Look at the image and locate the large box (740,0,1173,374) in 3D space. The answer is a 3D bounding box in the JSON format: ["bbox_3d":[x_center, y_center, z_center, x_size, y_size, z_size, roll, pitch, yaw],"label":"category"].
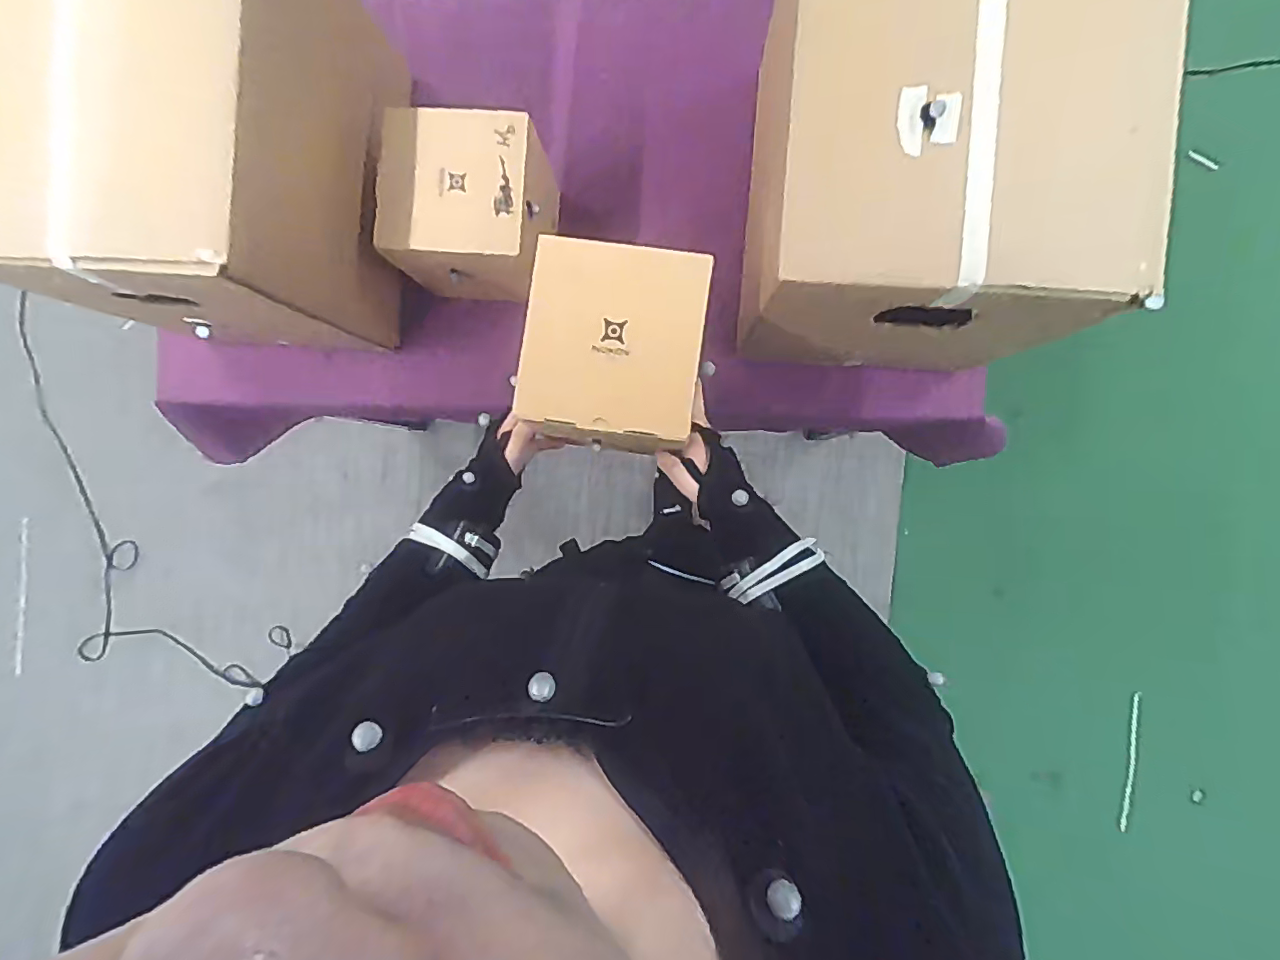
[{"bbox_3d":[0.301,-0.356,0.614,0.320,0.320,0.408,5,91,3],"label":"large box"}]

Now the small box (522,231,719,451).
[{"bbox_3d":[-0.017,-0.135,0.586,0.168,0.176,0.179,8,88,1],"label":"small box"}]
